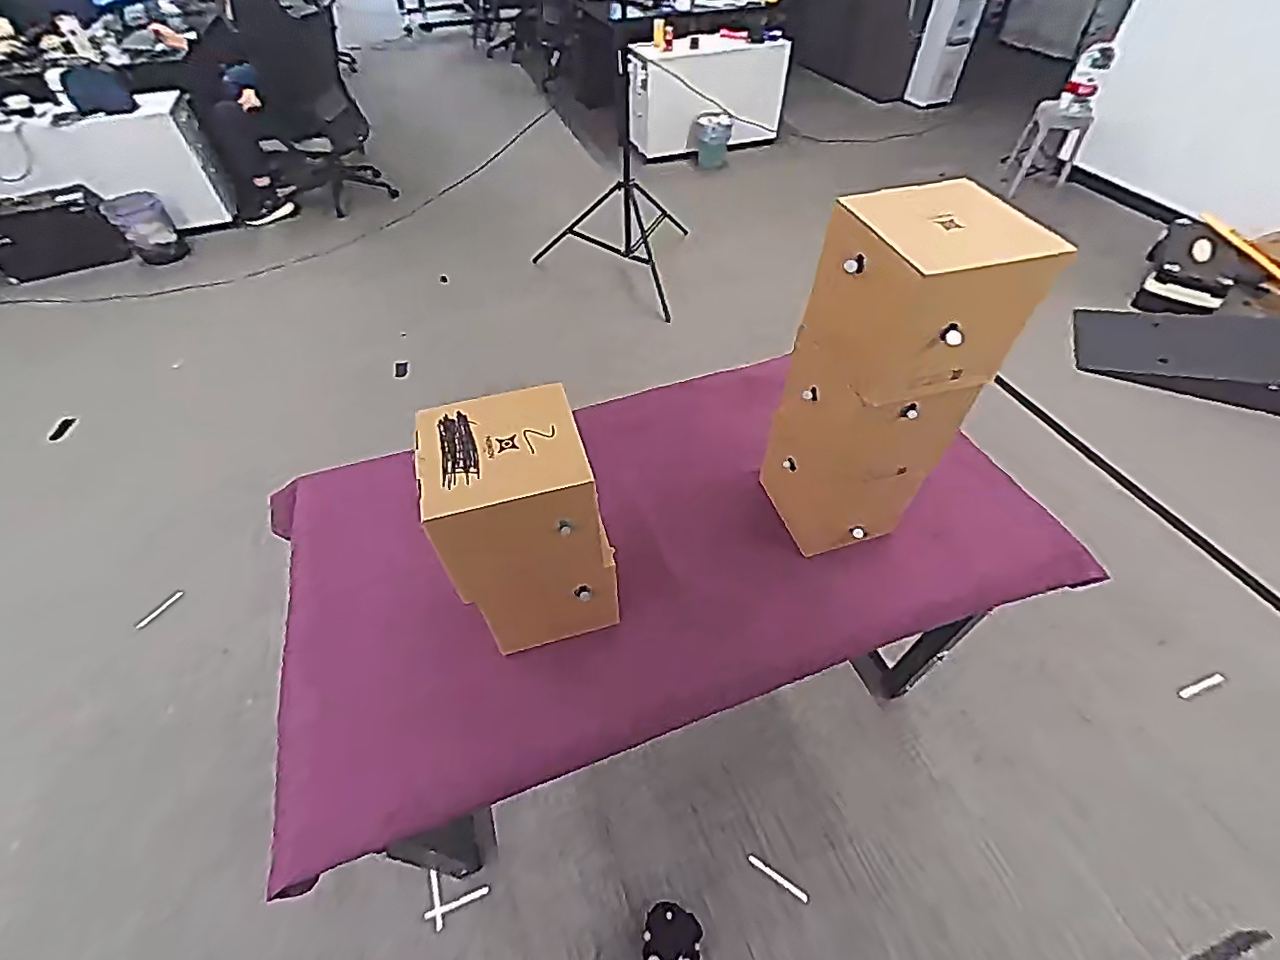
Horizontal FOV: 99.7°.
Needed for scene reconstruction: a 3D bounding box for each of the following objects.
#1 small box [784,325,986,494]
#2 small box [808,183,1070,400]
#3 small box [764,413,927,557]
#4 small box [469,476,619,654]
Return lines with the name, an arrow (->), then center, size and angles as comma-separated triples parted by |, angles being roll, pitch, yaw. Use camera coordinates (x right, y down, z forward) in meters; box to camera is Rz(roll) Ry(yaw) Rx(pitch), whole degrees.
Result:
small box -> 0.316, -0.108, 0.747 | 0.168, 0.176, 0.179 | -12, 50, -8
small box -> 0.316, -0.209, 0.618 | 0.168, 0.176, 0.179 | -13, 50, -8
small box -> 0.317, -0.005, 0.875 | 0.168, 0.176, 0.179 | -14, 51, -10
small box -> -0.132, 0.123, 0.774 | 0.179, 0.176, 0.168 | -13, 50, -10
